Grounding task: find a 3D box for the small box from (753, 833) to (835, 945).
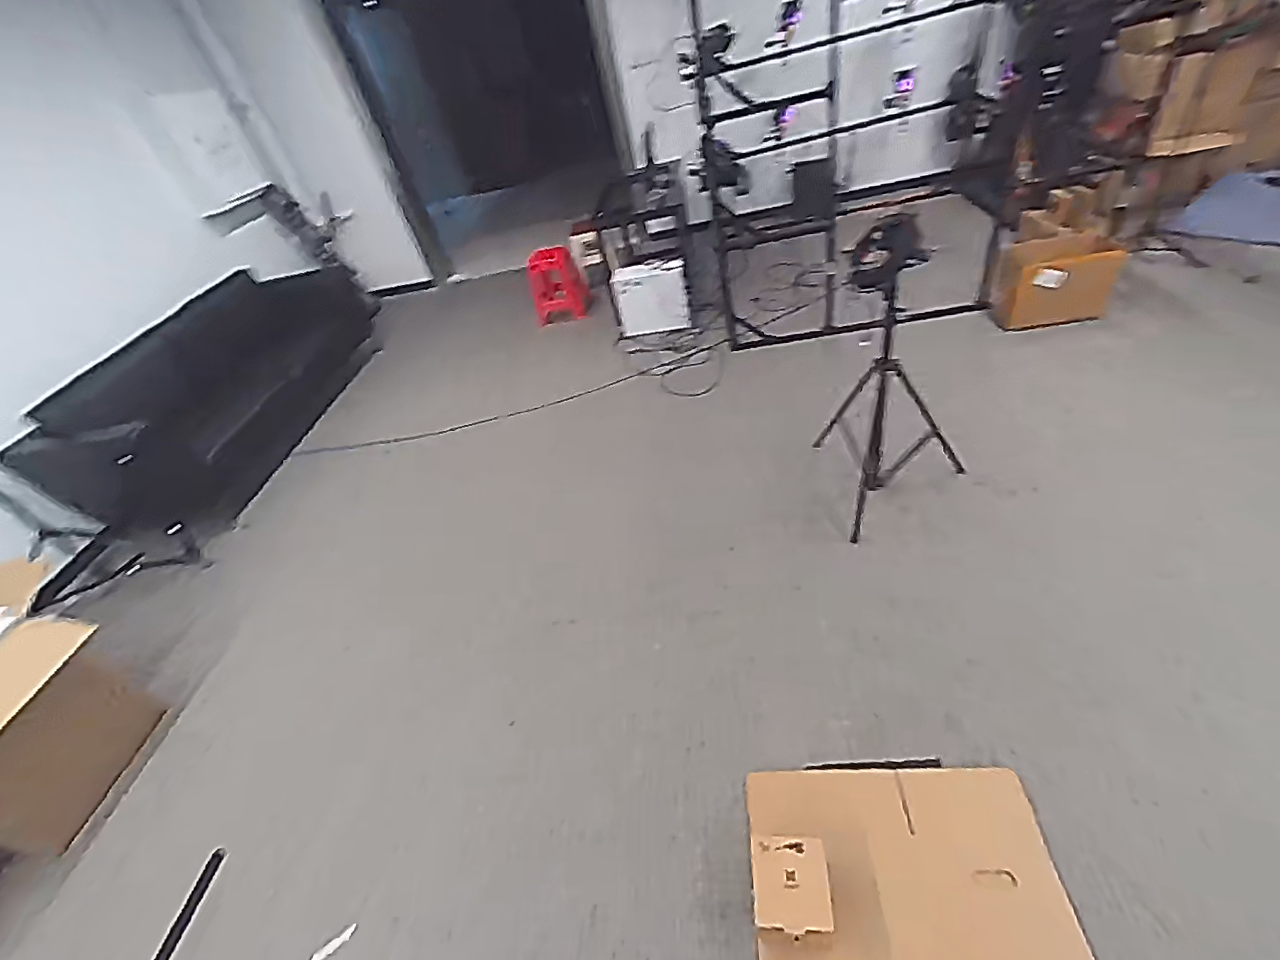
[{"bbox_3d":[0.354,0.942,1.244,0.168,0.176,0.179,-5,42,13],"label":"small box"}]
